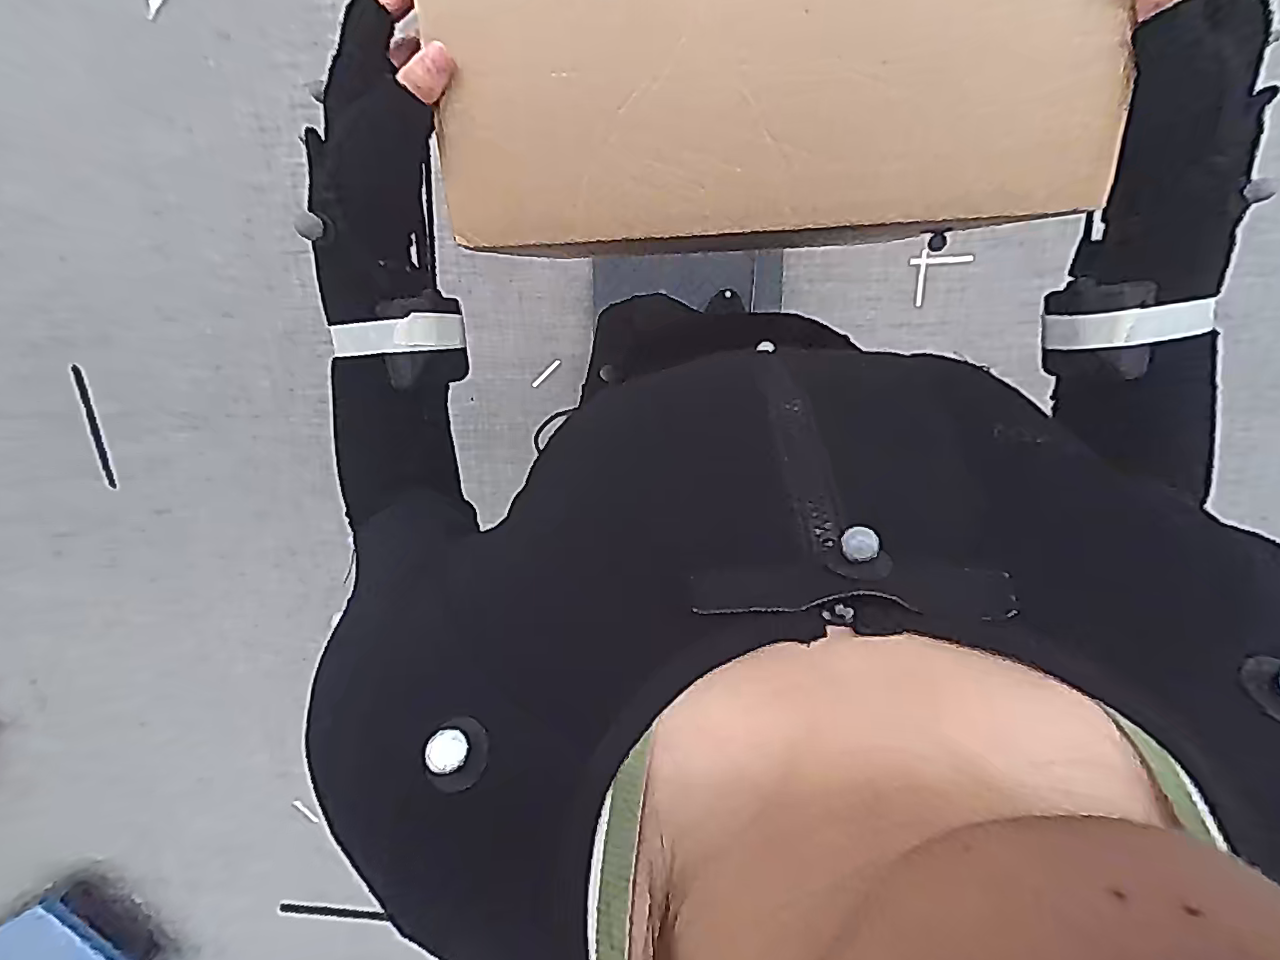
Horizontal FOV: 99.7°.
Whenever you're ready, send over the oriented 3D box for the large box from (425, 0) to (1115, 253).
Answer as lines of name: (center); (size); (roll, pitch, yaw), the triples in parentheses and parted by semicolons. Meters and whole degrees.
large box: (0.075, -0.362, 0.435); (0.408, 0.320, 0.320); (-2, 110, 2)
